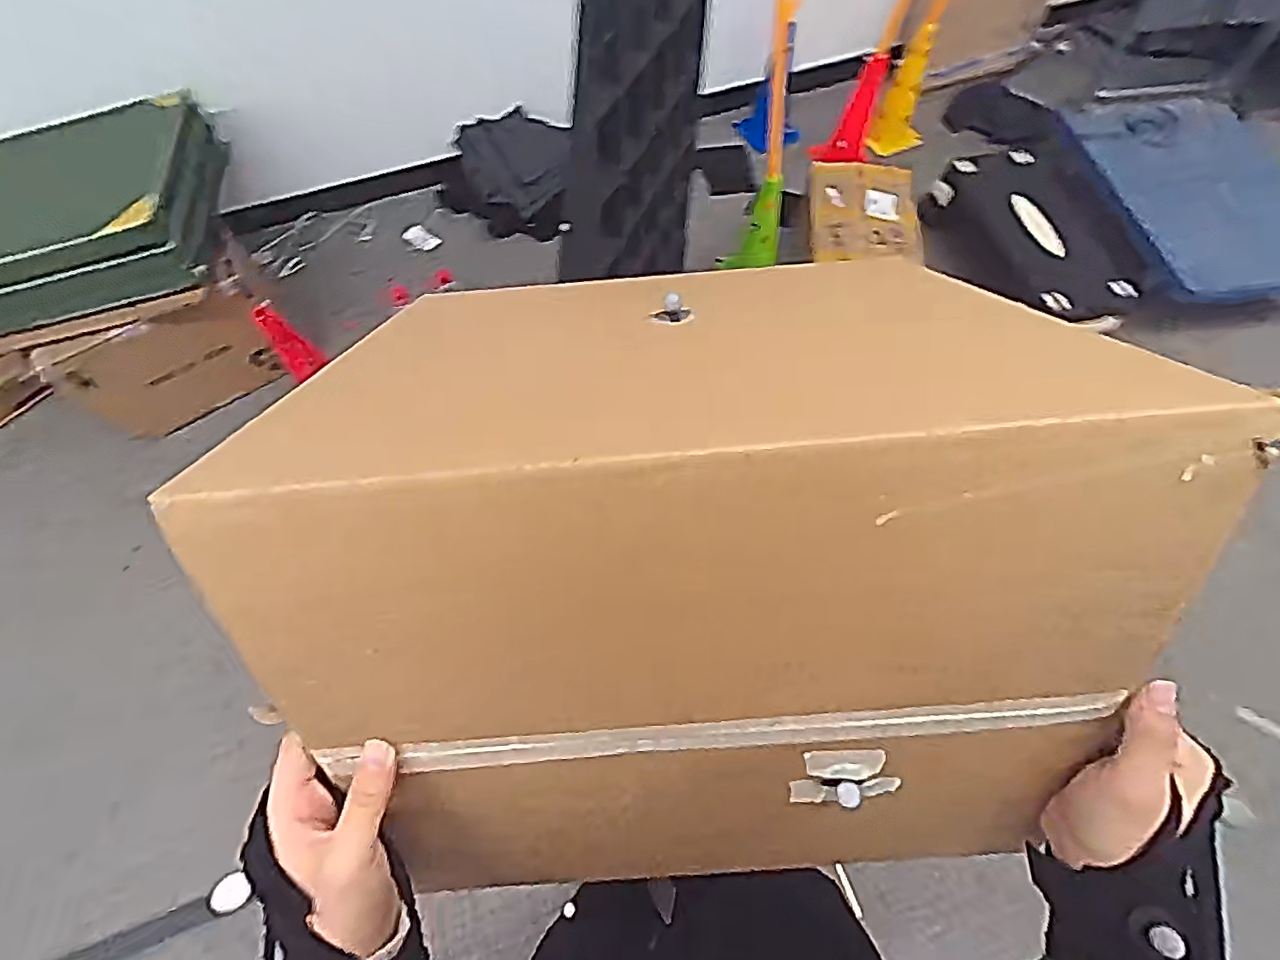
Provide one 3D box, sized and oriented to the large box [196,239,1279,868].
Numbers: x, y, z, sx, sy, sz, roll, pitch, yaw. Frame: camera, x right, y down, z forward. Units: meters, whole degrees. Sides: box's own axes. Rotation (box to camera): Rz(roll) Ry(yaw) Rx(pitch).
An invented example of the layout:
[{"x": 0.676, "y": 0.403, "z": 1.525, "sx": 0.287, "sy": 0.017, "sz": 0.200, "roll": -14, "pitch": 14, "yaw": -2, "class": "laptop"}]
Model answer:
[{"x": 0.040, "y": 0.024, "z": 0.395, "sx": 0.408, "sy": 0.320, "sz": 0.320, "roll": -5, "pitch": 32, "yaw": 1, "class": "large box"}]
